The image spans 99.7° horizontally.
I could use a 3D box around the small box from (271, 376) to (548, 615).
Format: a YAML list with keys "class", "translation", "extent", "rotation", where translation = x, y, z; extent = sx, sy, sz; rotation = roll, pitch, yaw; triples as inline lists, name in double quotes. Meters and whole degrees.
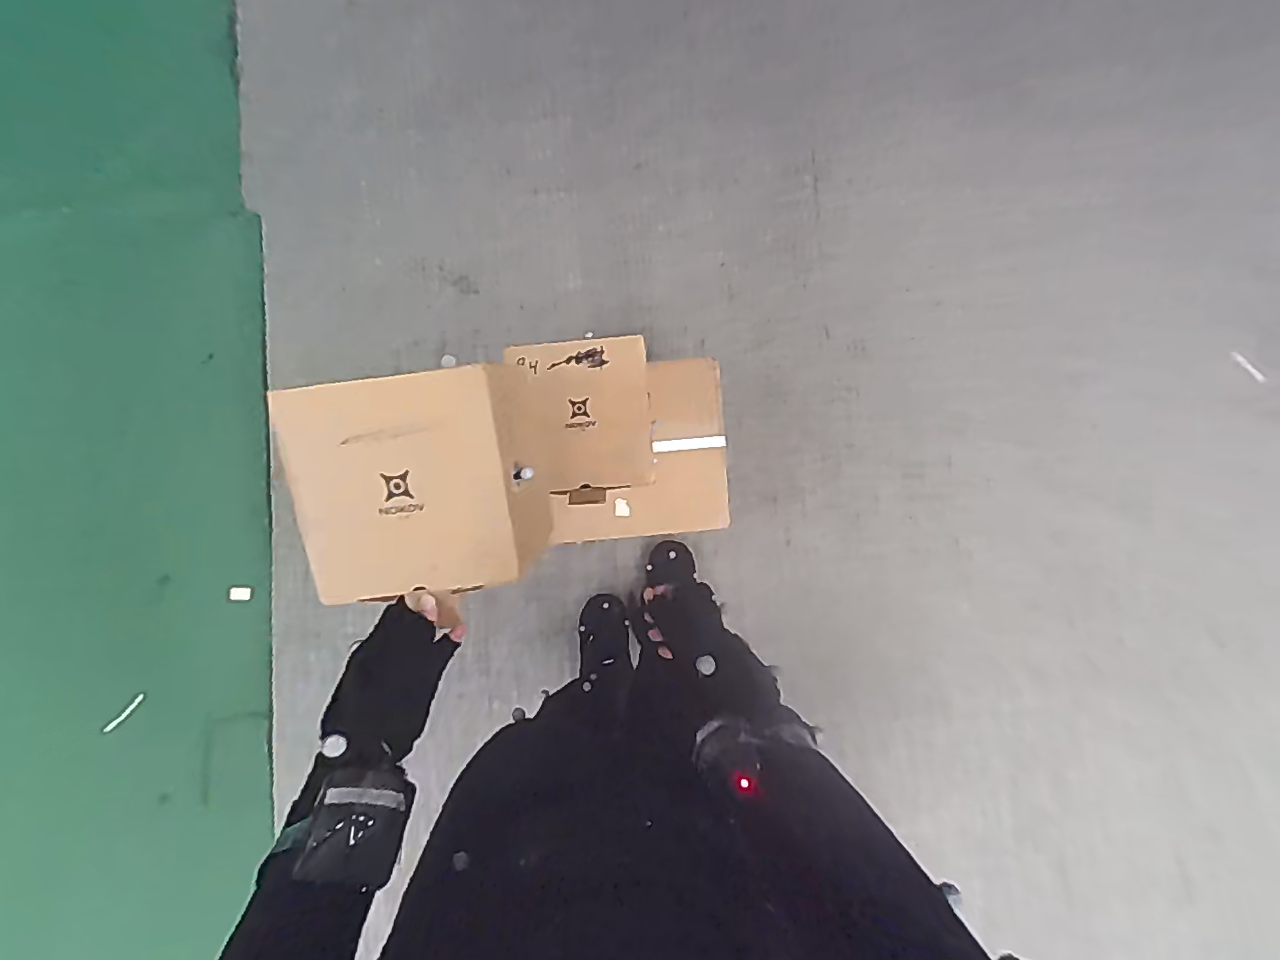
- class: "small box"
  translation: [-0.188, 0.001, 0.501]
  extent: [0.168, 0.176, 0.179]
  rotation: [-9, 100, 0]

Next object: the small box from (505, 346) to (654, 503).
- class: "small box"
  translation: [-0.068, -0.069, 0.711]
  extent: [0.168, 0.176, 0.179]
  rotation: [-5, 93, 1]
